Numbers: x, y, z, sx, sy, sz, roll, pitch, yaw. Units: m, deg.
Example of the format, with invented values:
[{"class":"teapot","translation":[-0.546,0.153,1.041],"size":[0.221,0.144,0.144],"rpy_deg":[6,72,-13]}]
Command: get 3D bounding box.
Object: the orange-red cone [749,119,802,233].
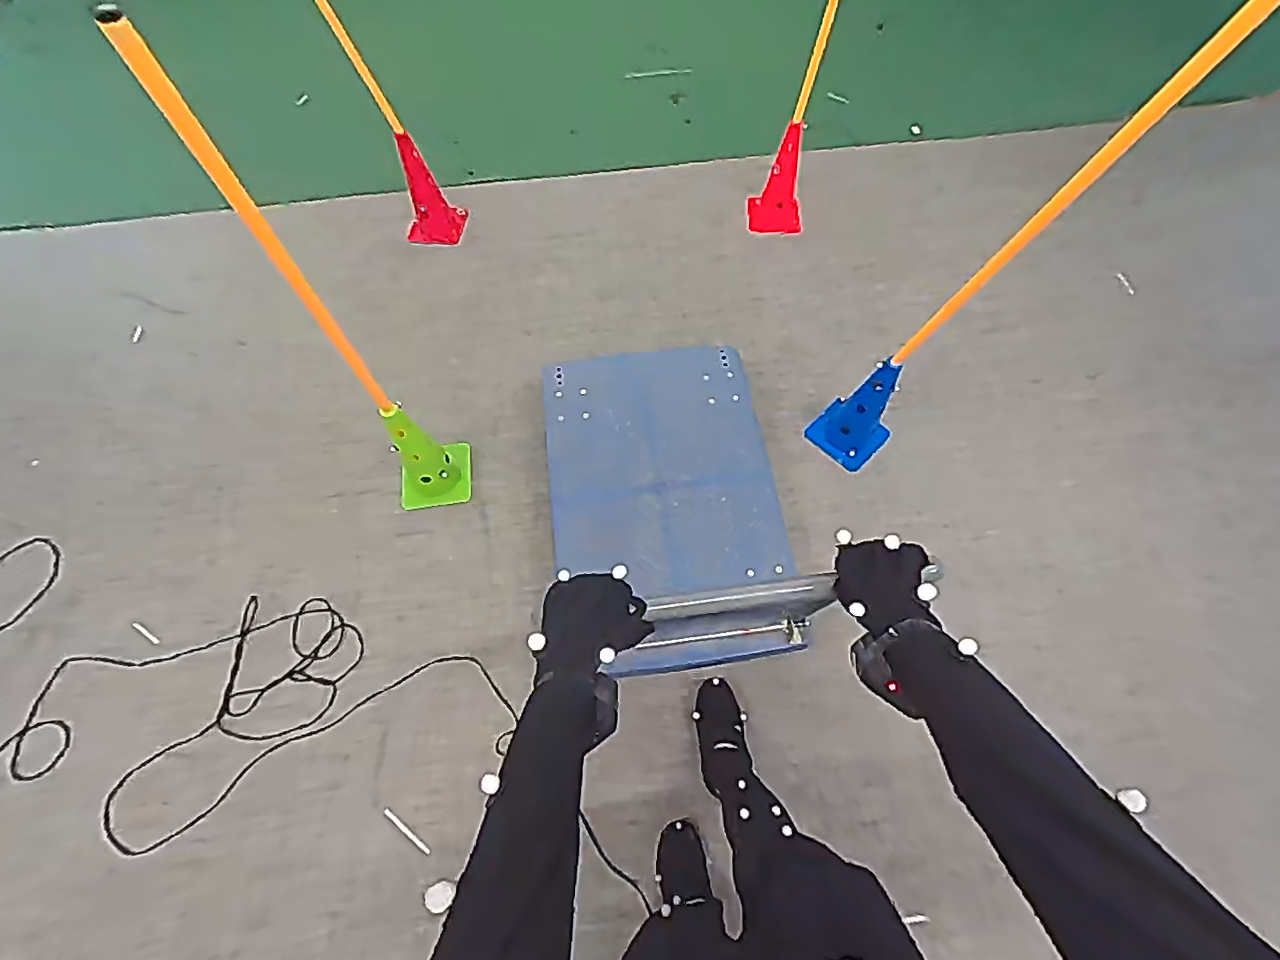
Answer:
[{"class":"orange-red cone","translation":[0.515,-1.090,1.921],"size":[0.198,0.360,0.199],"rpy_deg":[3,65,3]}]
